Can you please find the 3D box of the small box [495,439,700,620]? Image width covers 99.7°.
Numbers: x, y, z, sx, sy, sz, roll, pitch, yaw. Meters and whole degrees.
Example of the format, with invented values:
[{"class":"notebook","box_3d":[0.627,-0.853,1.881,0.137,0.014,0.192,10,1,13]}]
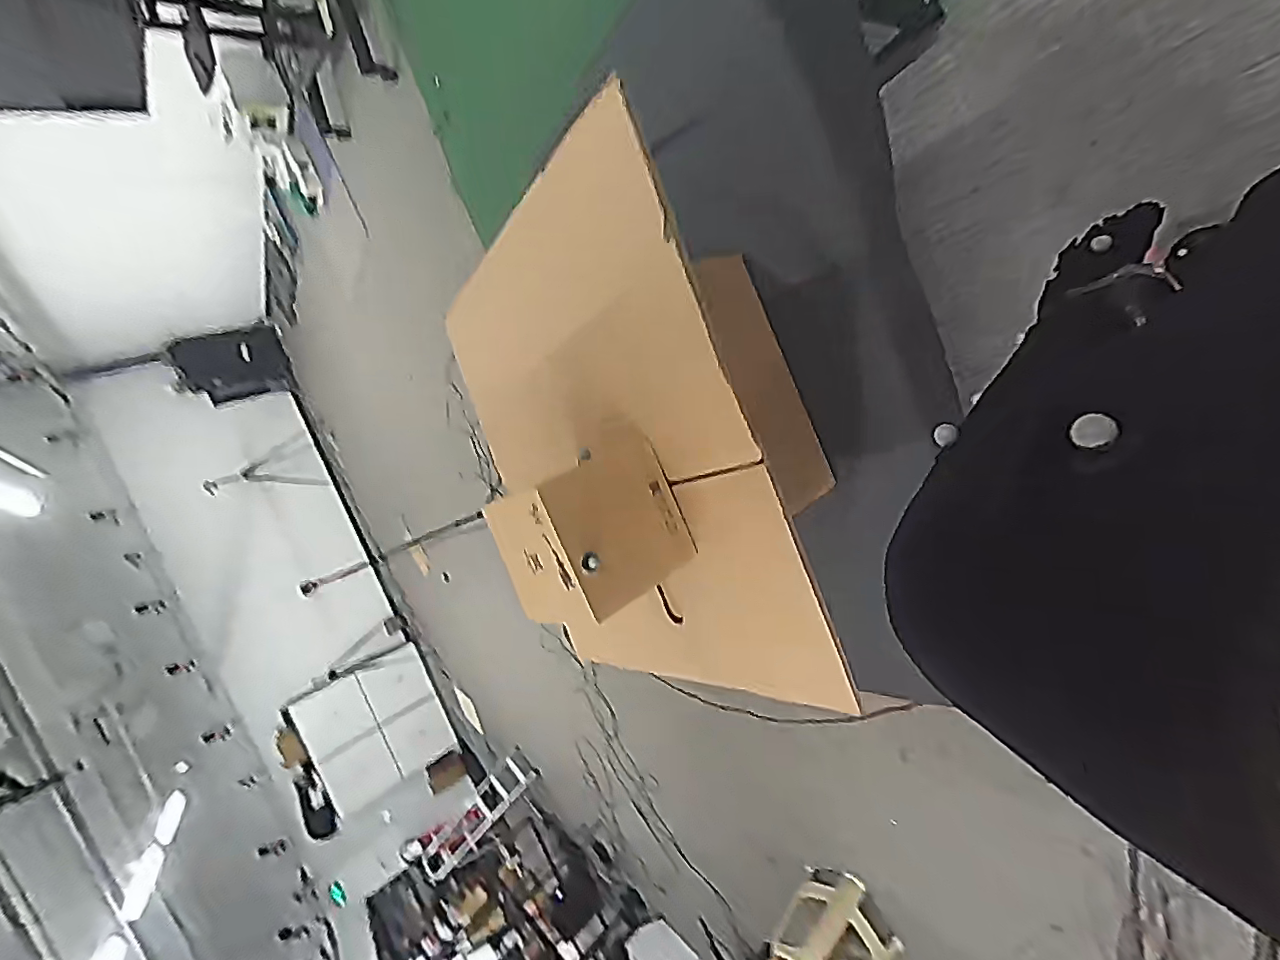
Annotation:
[{"class":"small box","box_3d":[-0.056,0.063,0.697,0.179,0.176,0.168,-18,97,55]}]
